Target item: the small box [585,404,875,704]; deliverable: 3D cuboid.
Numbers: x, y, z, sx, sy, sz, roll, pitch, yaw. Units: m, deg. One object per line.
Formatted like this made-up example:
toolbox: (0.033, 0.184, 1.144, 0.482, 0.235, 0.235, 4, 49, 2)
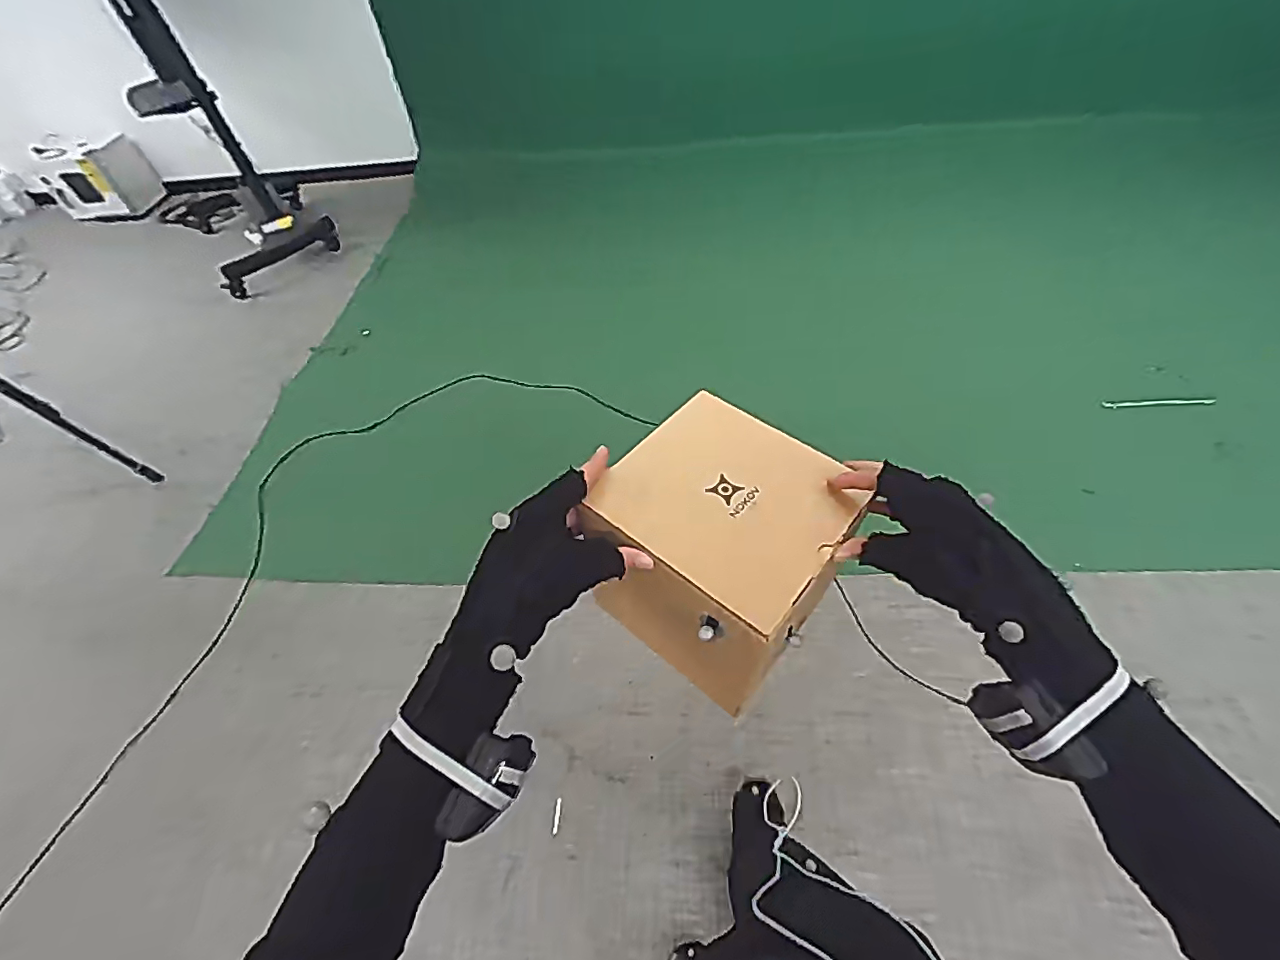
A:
small box: (0.072, 0.068, 0.490, 0.179, 0.176, 0.168, 34, 58, 25)
